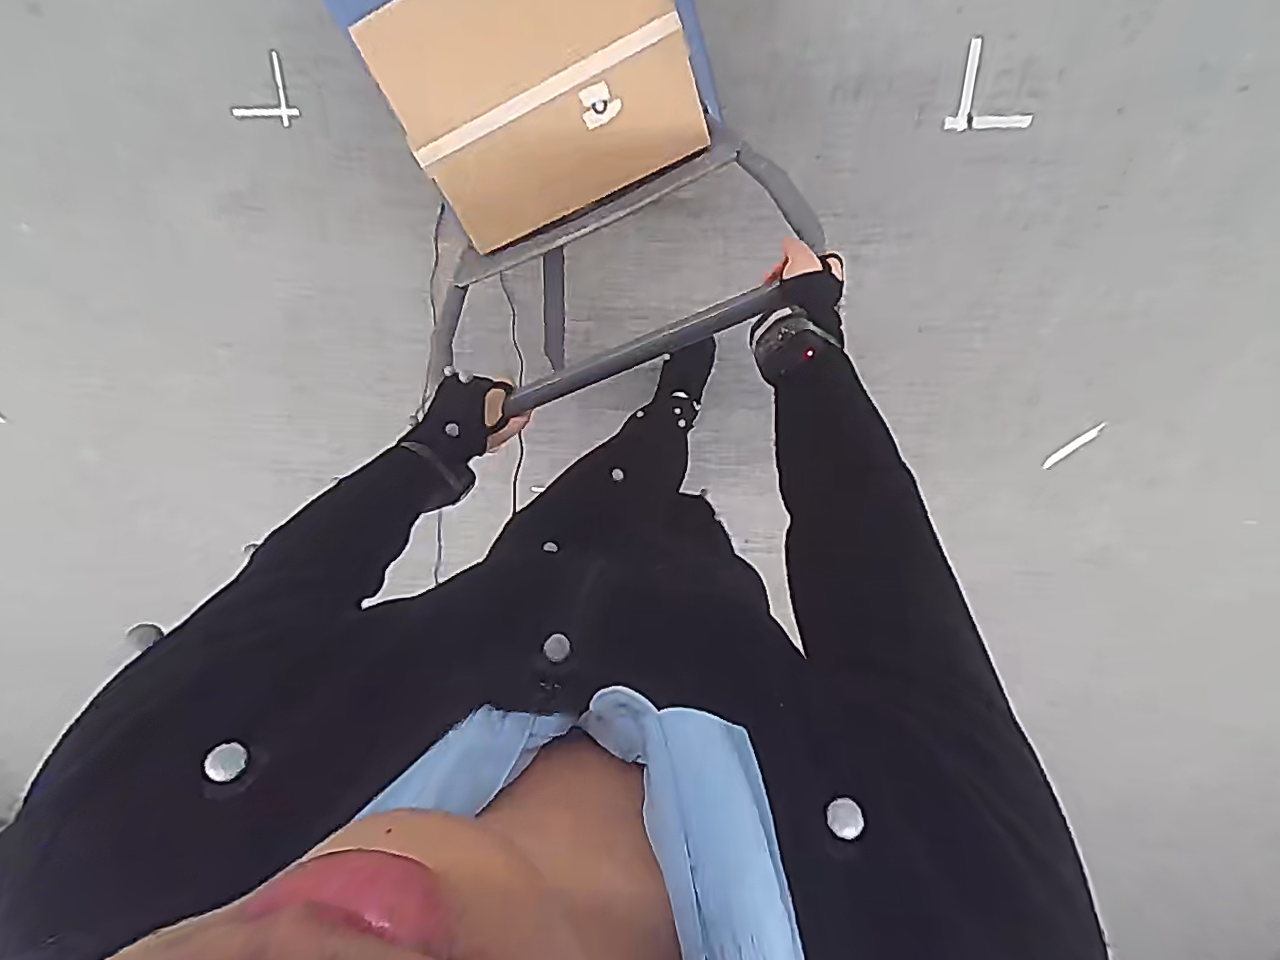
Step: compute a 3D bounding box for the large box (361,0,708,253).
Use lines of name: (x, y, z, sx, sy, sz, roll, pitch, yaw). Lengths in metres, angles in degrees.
large box: (-0.151, -0.642, 0.884, 0.408, 0.320, 0.320, -22, 128, 10)
